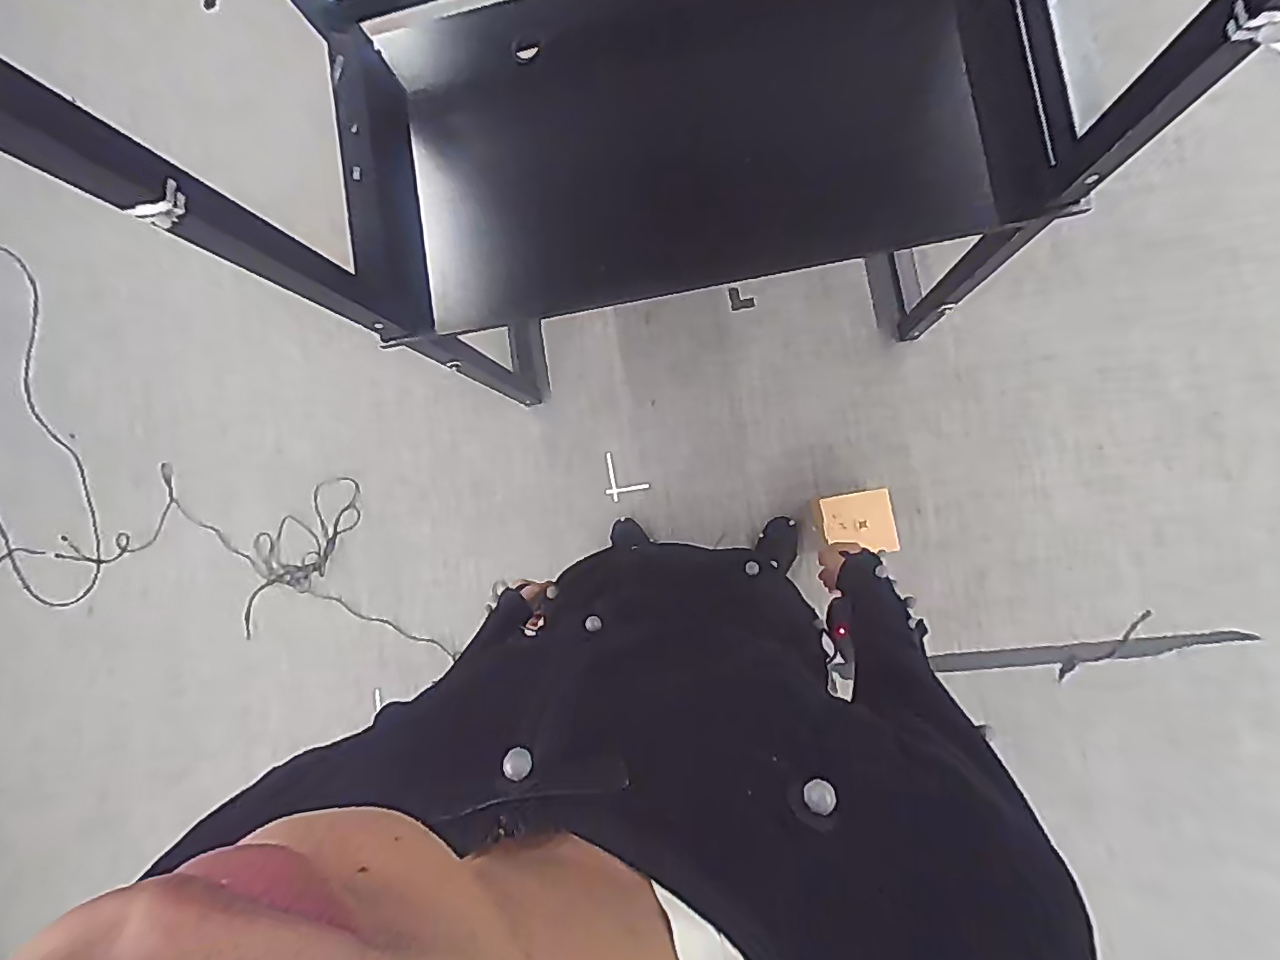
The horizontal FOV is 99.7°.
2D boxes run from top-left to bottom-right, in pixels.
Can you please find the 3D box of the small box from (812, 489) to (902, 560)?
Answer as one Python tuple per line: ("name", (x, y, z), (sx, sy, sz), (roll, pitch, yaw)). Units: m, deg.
("small box", (0.584, 0.118, 1.475), (0.179, 0.176, 0.168), (-11, 86, 9))
